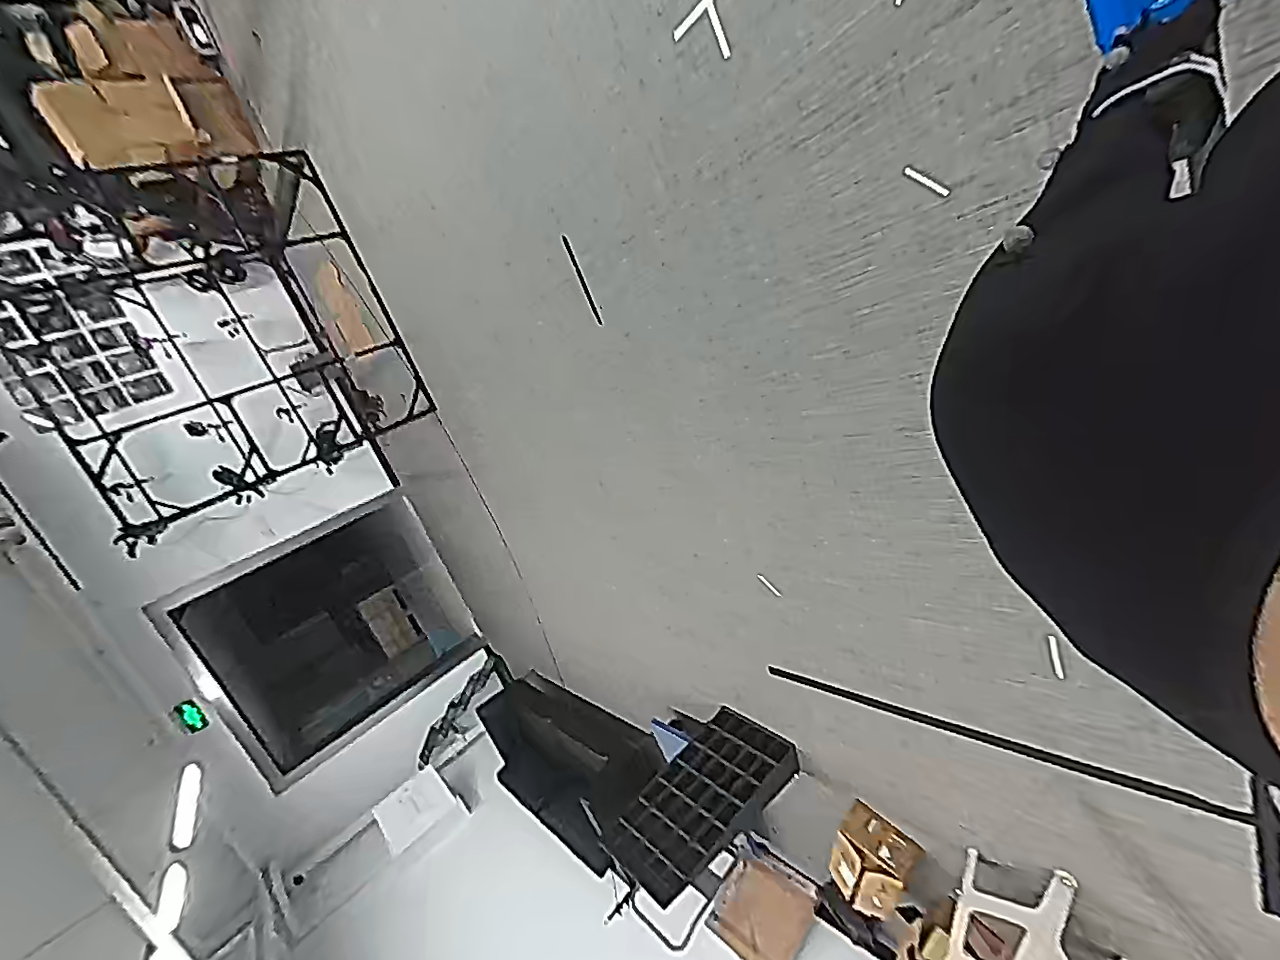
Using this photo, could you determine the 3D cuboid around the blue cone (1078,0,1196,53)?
[{"bbox_3d":[0.719,-0.783,0.803,0.192,0.380,0.193,-7,110,55],"label":"blue cone"}]
